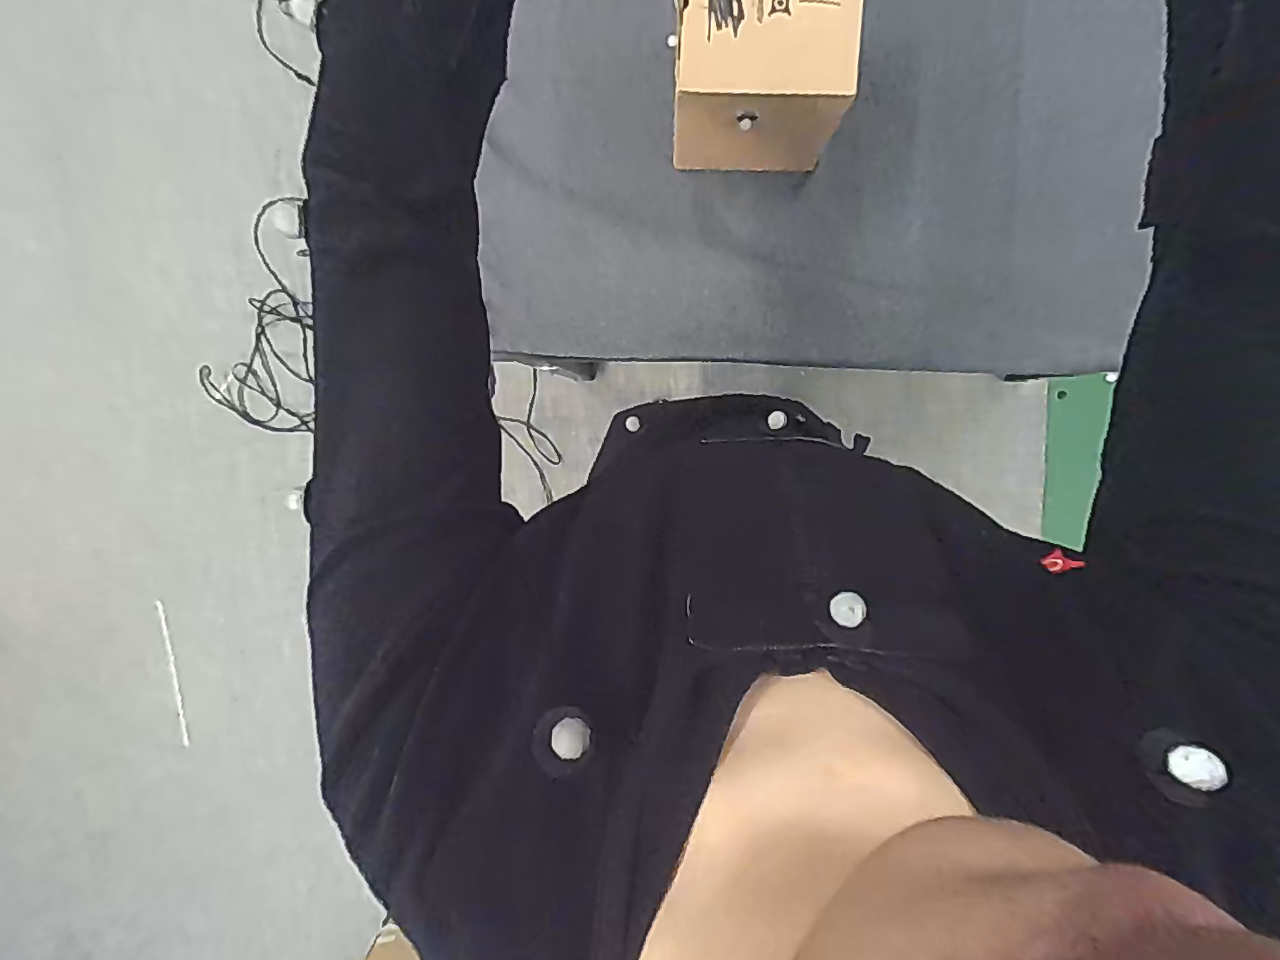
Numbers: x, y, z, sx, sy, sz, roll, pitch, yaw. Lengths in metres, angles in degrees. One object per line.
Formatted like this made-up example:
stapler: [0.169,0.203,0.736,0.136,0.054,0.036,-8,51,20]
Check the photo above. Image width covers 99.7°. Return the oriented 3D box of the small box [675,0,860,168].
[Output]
small box: [0.130,-0.472,0.605,0.179,0.176,0.168,2,97,2]
